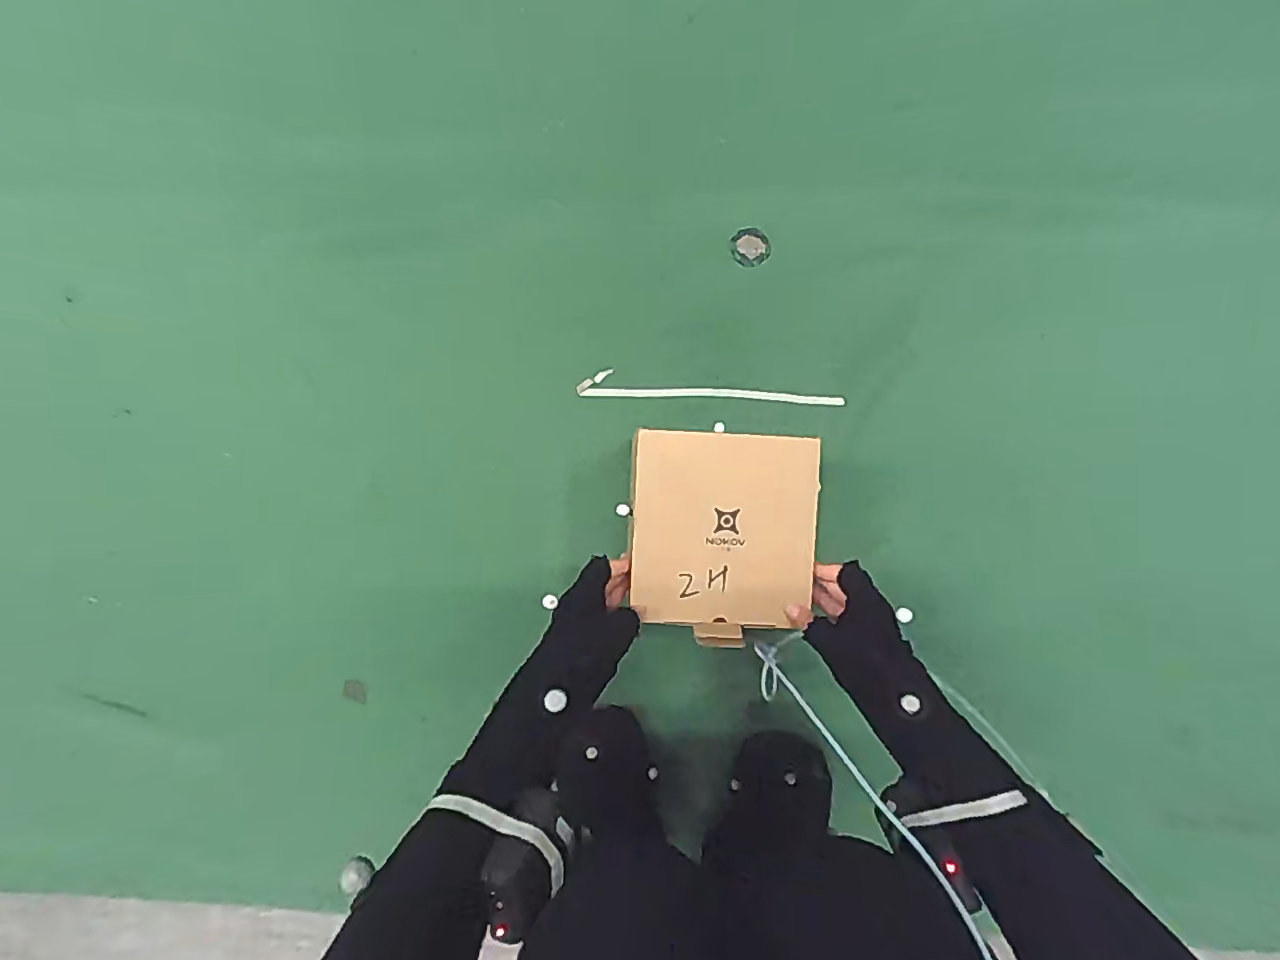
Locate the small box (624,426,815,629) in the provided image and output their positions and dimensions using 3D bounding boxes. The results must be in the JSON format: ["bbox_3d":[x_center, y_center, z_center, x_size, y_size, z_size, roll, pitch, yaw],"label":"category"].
[{"bbox_3d":[0.069,0.042,0.561,0.168,0.176,0.179,3,91,-1],"label":"small box"}]
